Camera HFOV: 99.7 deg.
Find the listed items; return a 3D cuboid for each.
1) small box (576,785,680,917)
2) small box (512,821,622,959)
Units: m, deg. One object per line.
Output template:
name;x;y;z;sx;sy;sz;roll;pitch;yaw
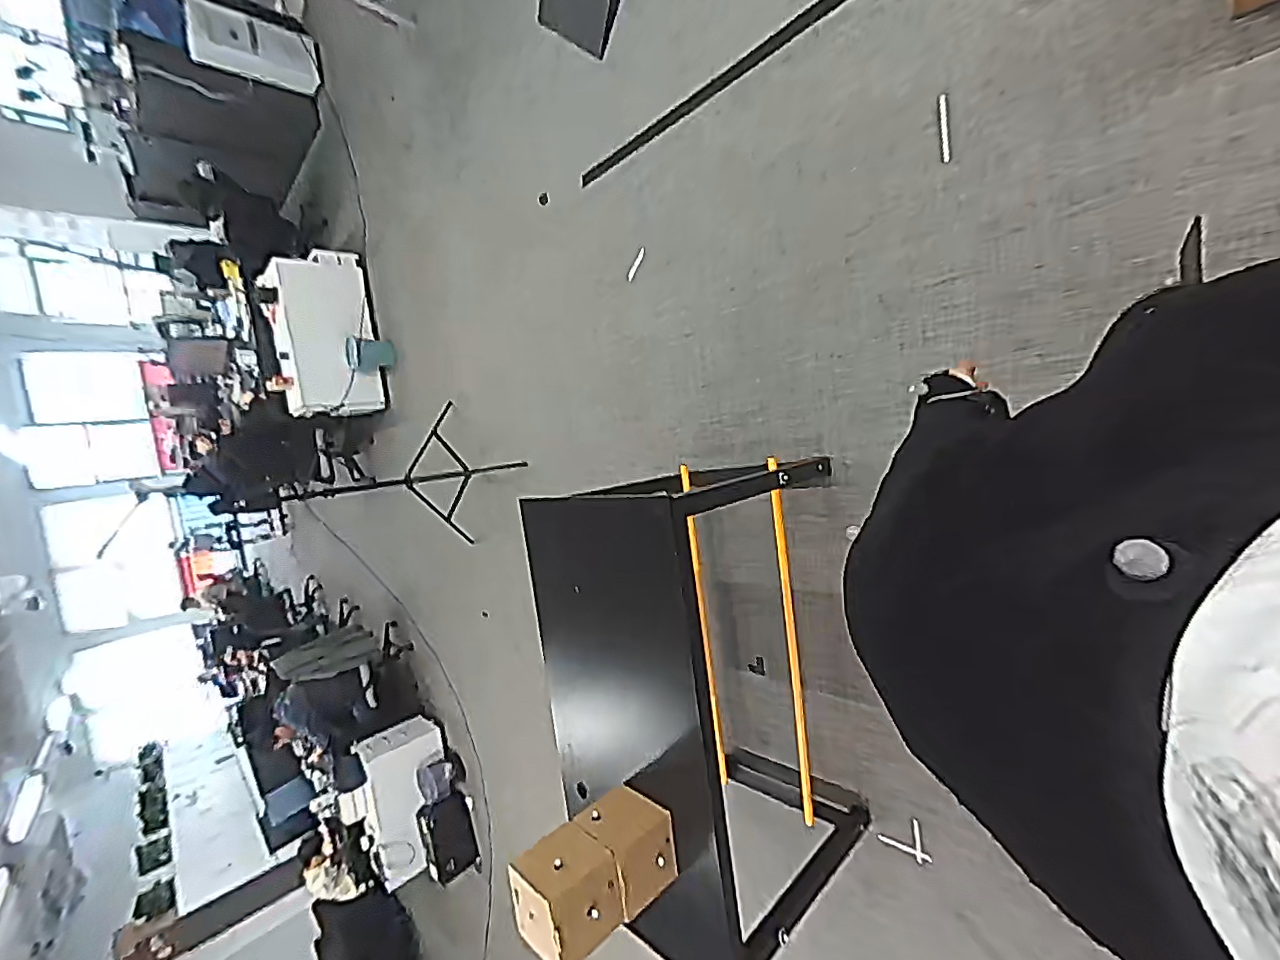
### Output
small box;-0.028;0.870;1.294;0.179;0.176;0.168;-1;99;47
small box;-0.153;0.899;1.191;0.179;0.176;0.168;-5;95;47
